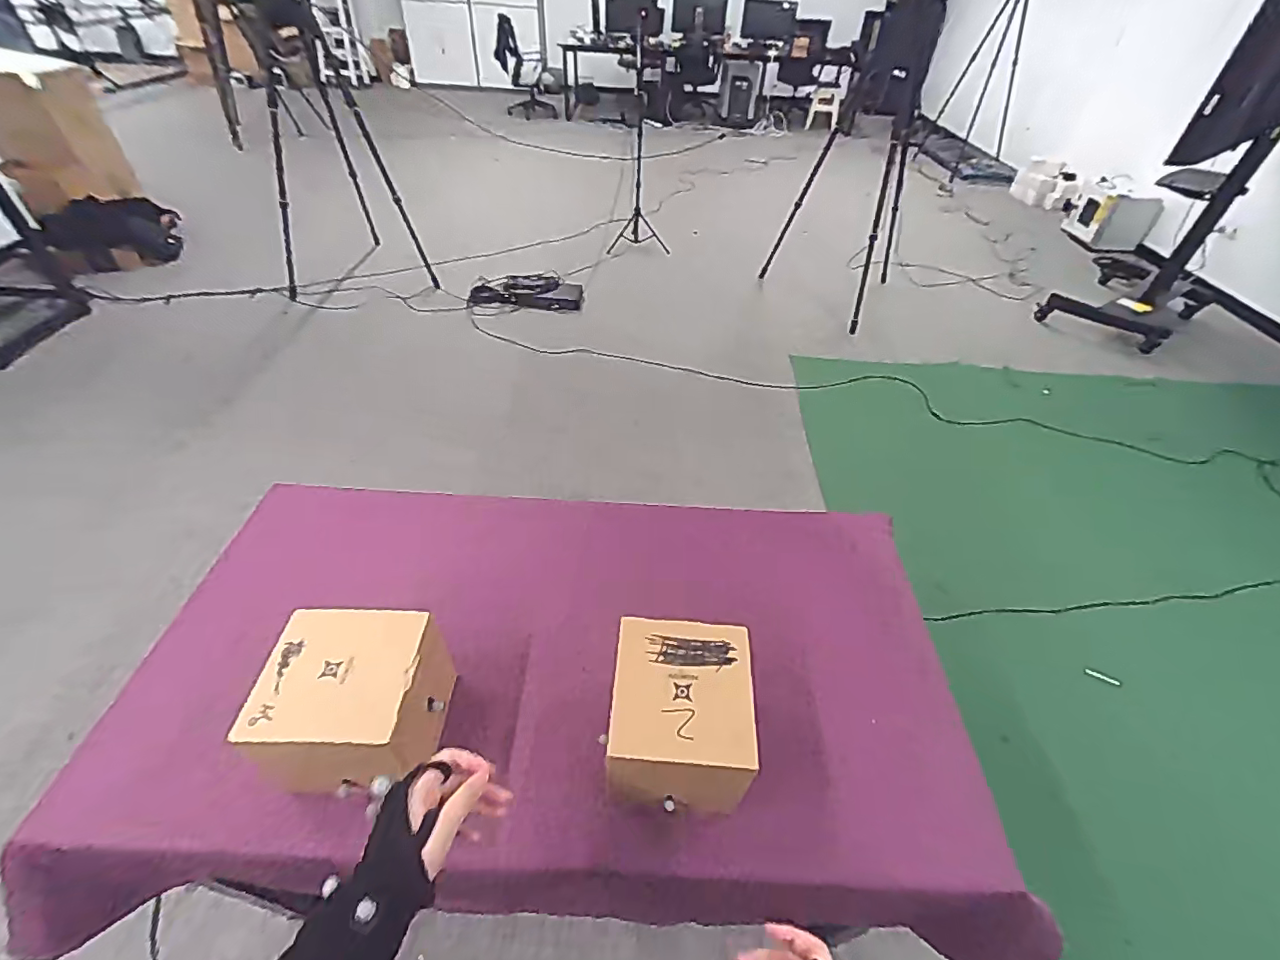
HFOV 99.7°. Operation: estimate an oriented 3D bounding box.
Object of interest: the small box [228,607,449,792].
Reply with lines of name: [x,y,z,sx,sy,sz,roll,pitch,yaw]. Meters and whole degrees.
small box: [-0.360,0.283,0.693,0.179,0.176,0.168,3,44,-2]
